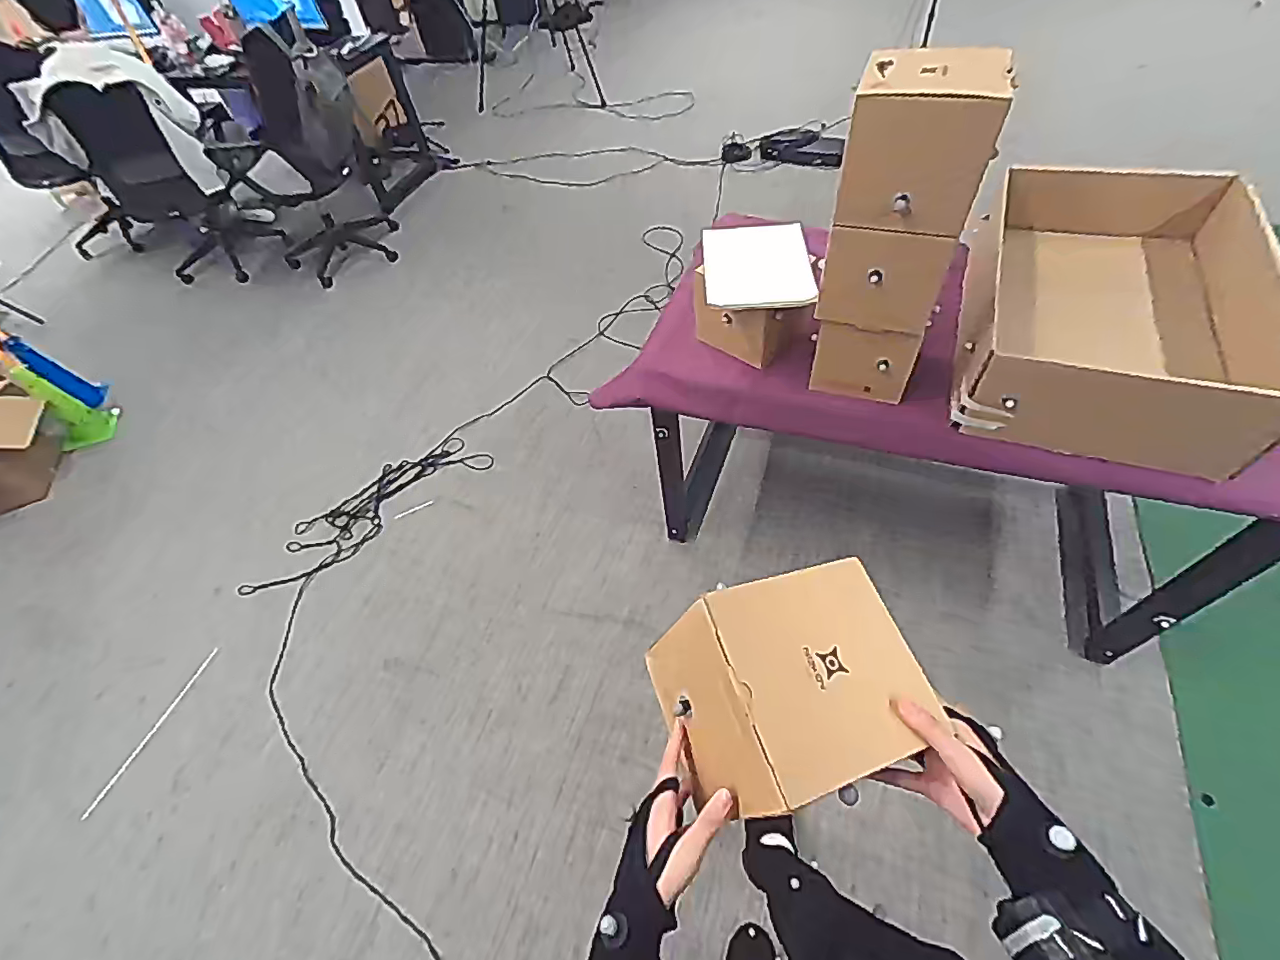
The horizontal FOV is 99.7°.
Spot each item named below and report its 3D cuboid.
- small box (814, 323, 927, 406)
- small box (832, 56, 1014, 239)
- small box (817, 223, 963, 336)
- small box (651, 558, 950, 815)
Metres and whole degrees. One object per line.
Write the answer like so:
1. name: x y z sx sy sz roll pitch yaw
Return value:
1. small box: 0.430 -0.262 1.009 0.168 0.176 0.179 15 55 18
2. small box: 0.384 -0.457 0.749 0.179 0.176 0.168 15 55 18
3. small box: 0.401 -0.356 0.878 0.179 0.176 0.168 15 55 19
4. small box: 0.132 0.194 0.509 0.179 0.176 0.168 -9 60 -23
